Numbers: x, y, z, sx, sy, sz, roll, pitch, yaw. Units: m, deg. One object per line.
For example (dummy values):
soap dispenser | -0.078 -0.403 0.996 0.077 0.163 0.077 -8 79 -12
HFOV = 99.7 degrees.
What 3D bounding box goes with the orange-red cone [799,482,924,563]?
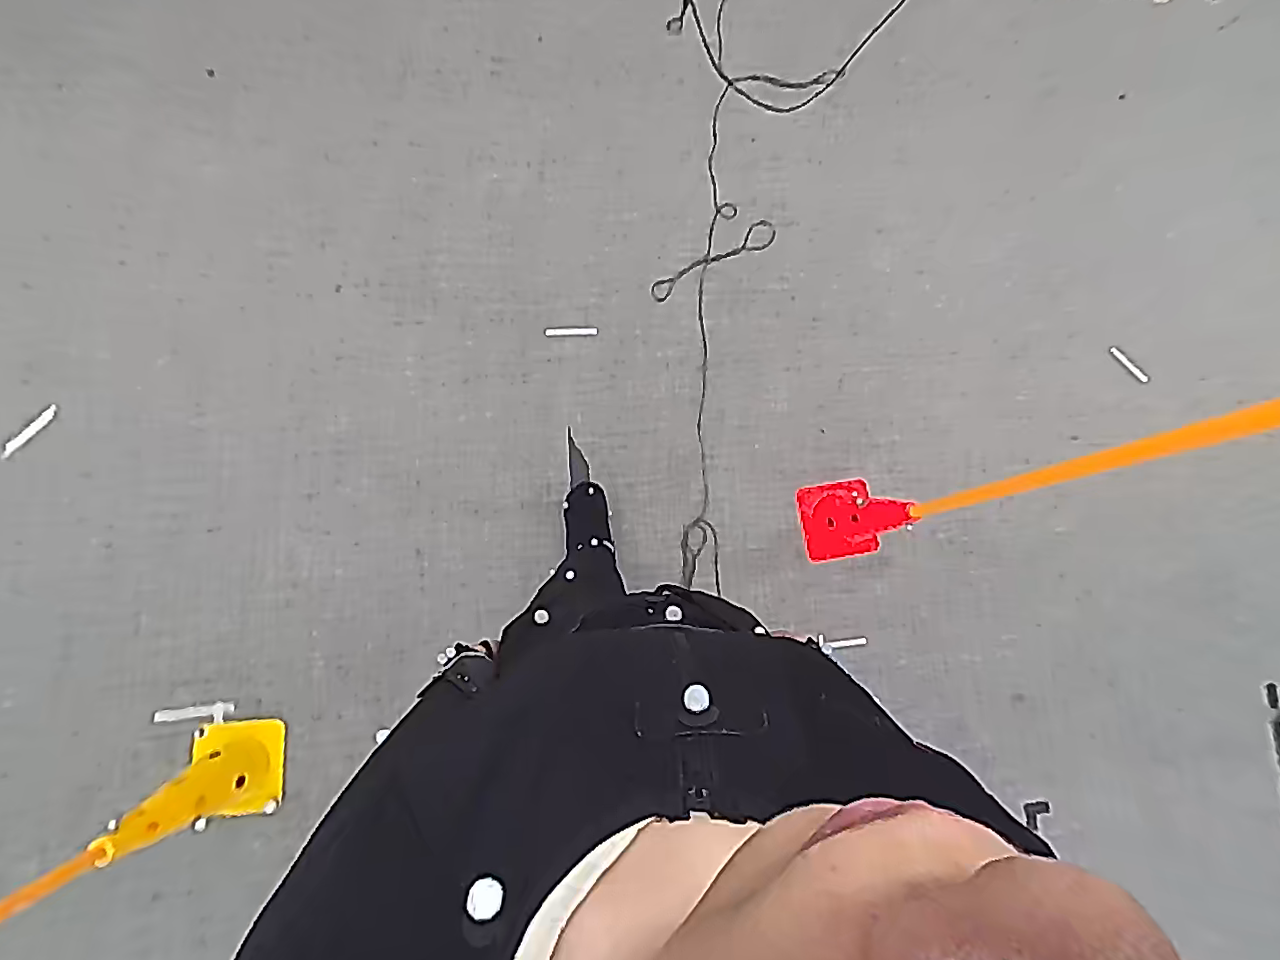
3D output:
orange-red cone | 0.537 0.087 1.250 0.199 0.360 0.198 -9 83 -5
